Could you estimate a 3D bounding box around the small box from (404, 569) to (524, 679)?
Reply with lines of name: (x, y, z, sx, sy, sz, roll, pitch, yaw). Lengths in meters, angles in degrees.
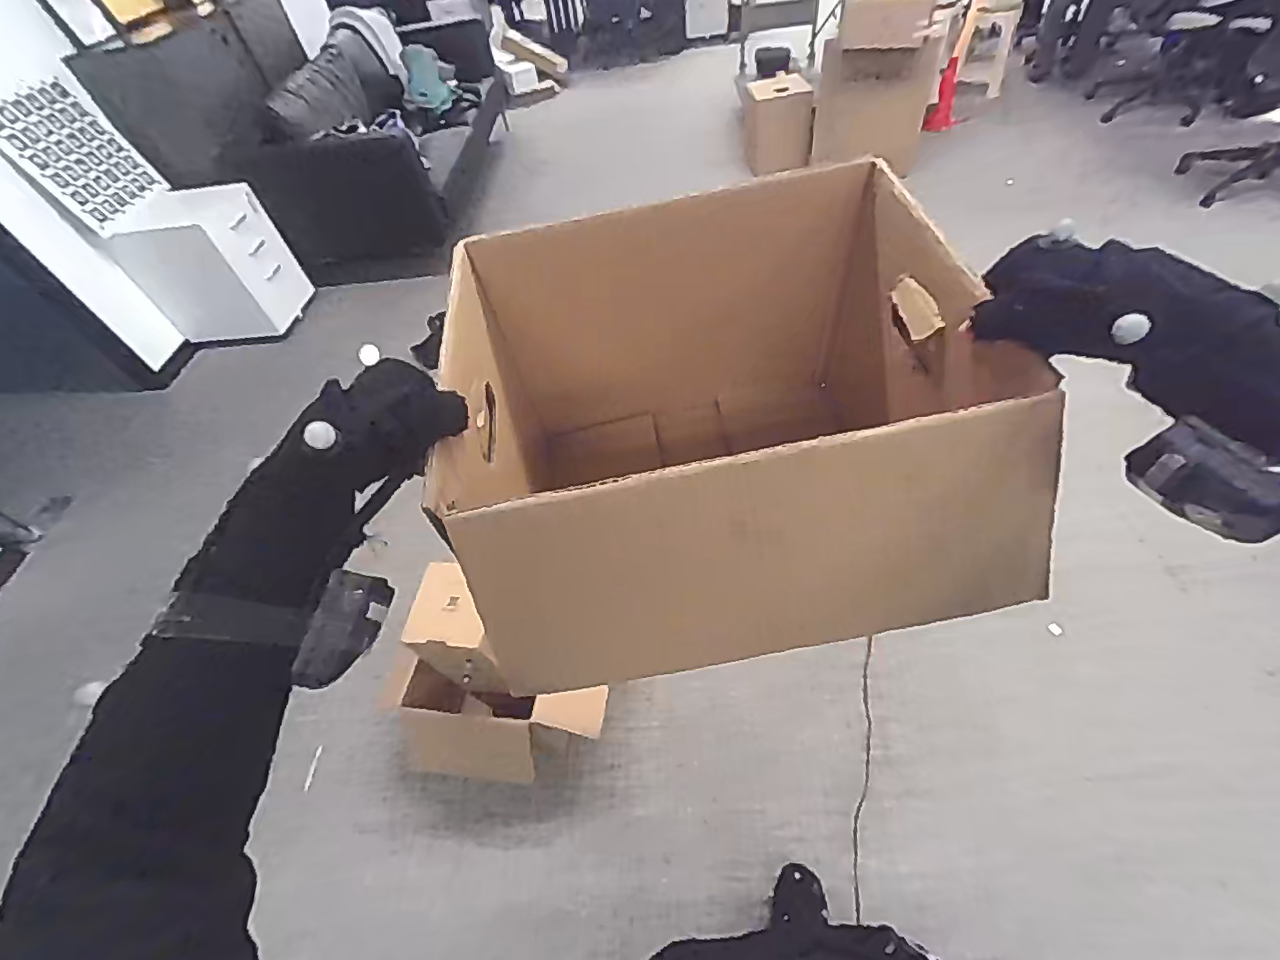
small box: (-0.358, 0.307, 1.140, 0.168, 0.176, 0.179, 1, 53, 8)
